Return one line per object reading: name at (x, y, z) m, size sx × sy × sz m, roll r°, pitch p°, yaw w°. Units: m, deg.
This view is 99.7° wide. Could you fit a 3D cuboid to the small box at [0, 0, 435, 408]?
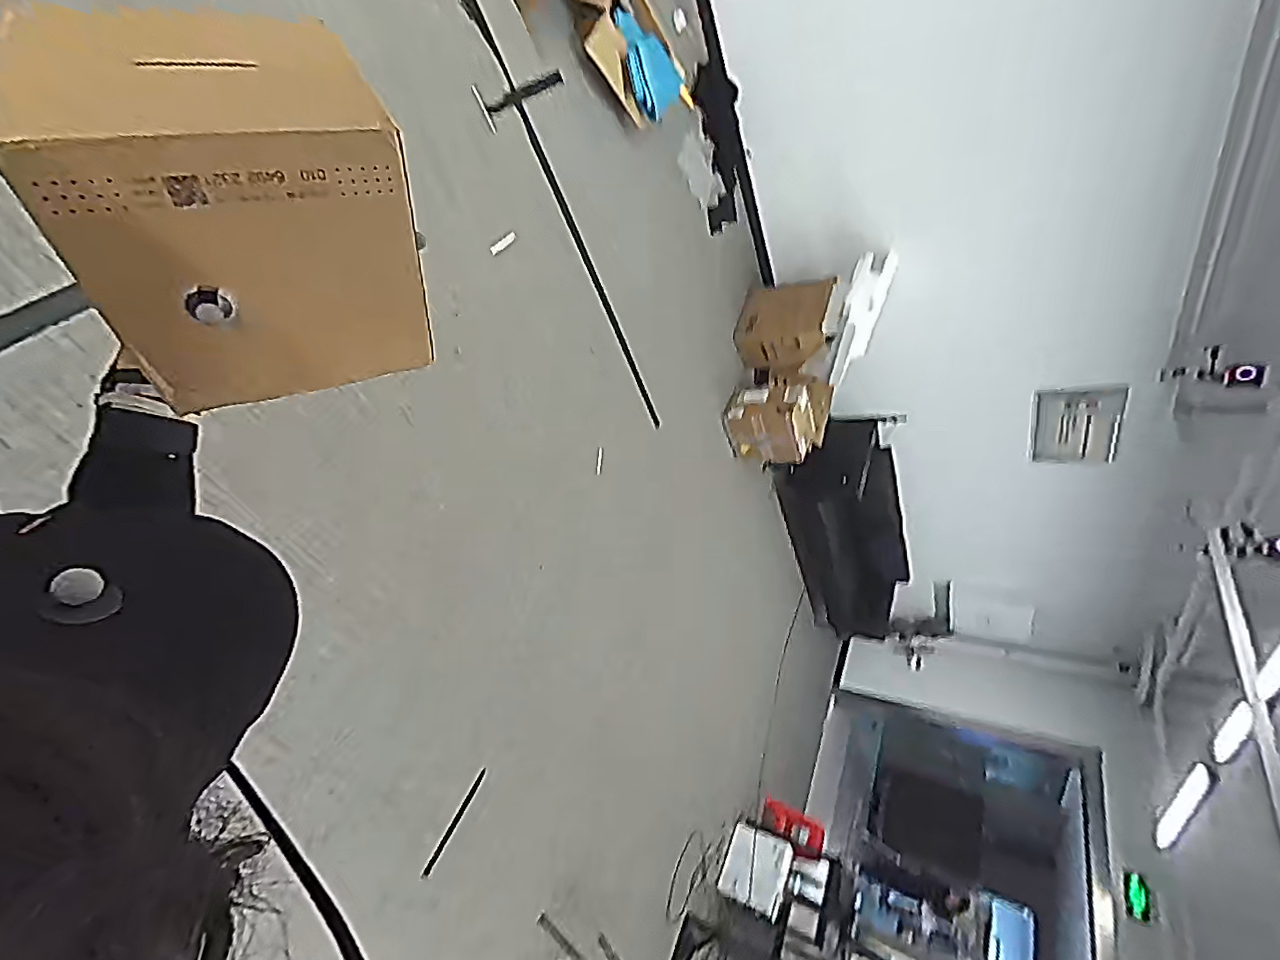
small box at (-0.248, -0.180, 0.344) m, size 0.168 × 0.179 × 0.176 m, roll -19°, pitch 150°, yaw -27°
